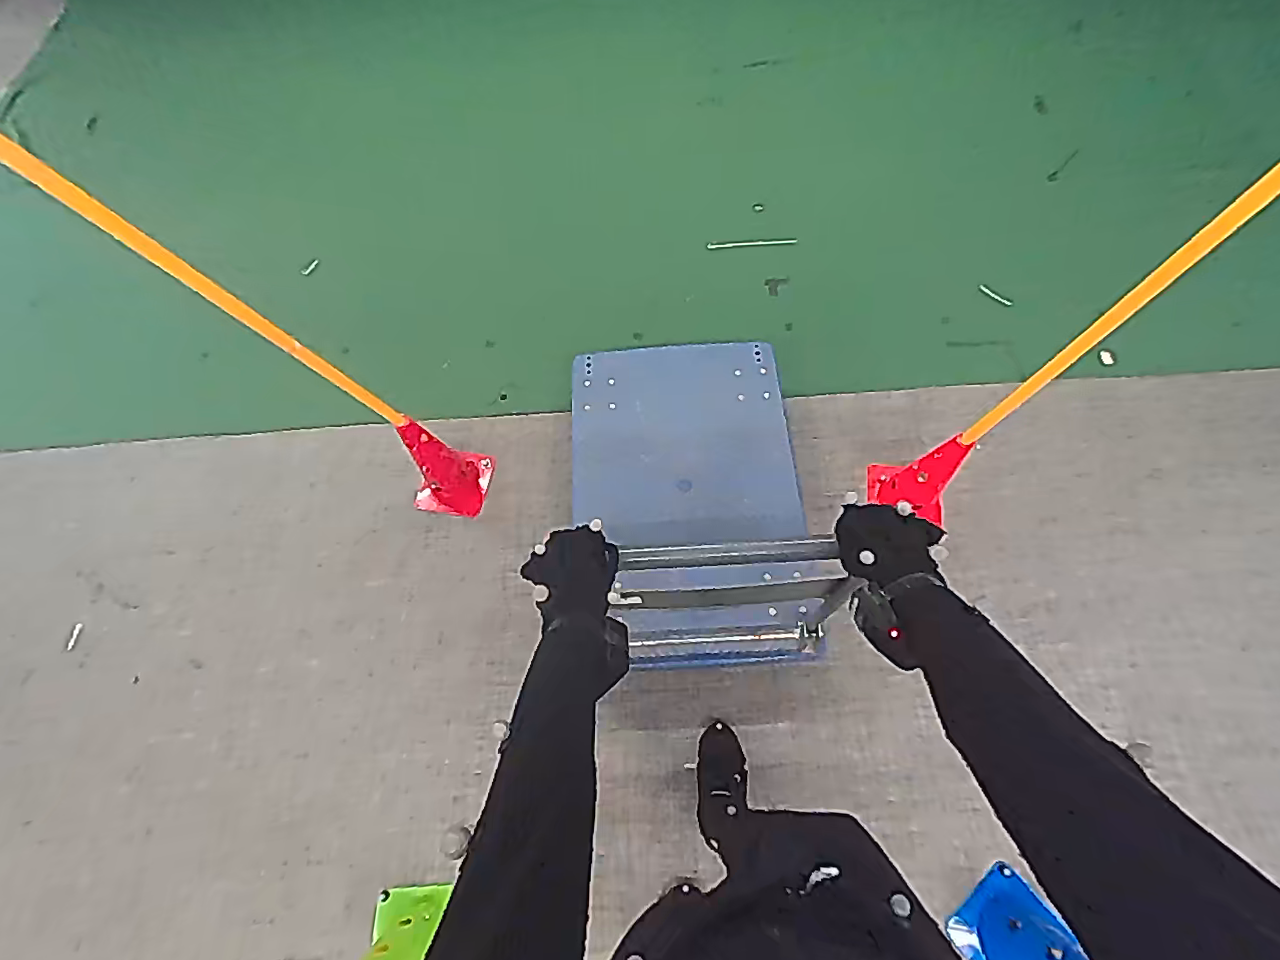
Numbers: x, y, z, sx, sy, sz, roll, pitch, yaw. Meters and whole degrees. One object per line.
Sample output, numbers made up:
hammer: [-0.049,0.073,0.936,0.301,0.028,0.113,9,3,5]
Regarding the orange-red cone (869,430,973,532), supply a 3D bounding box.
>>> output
orange-red cone: [0.728,-0.024,1.350,0.198,0.360,0.199,7,68,7]
